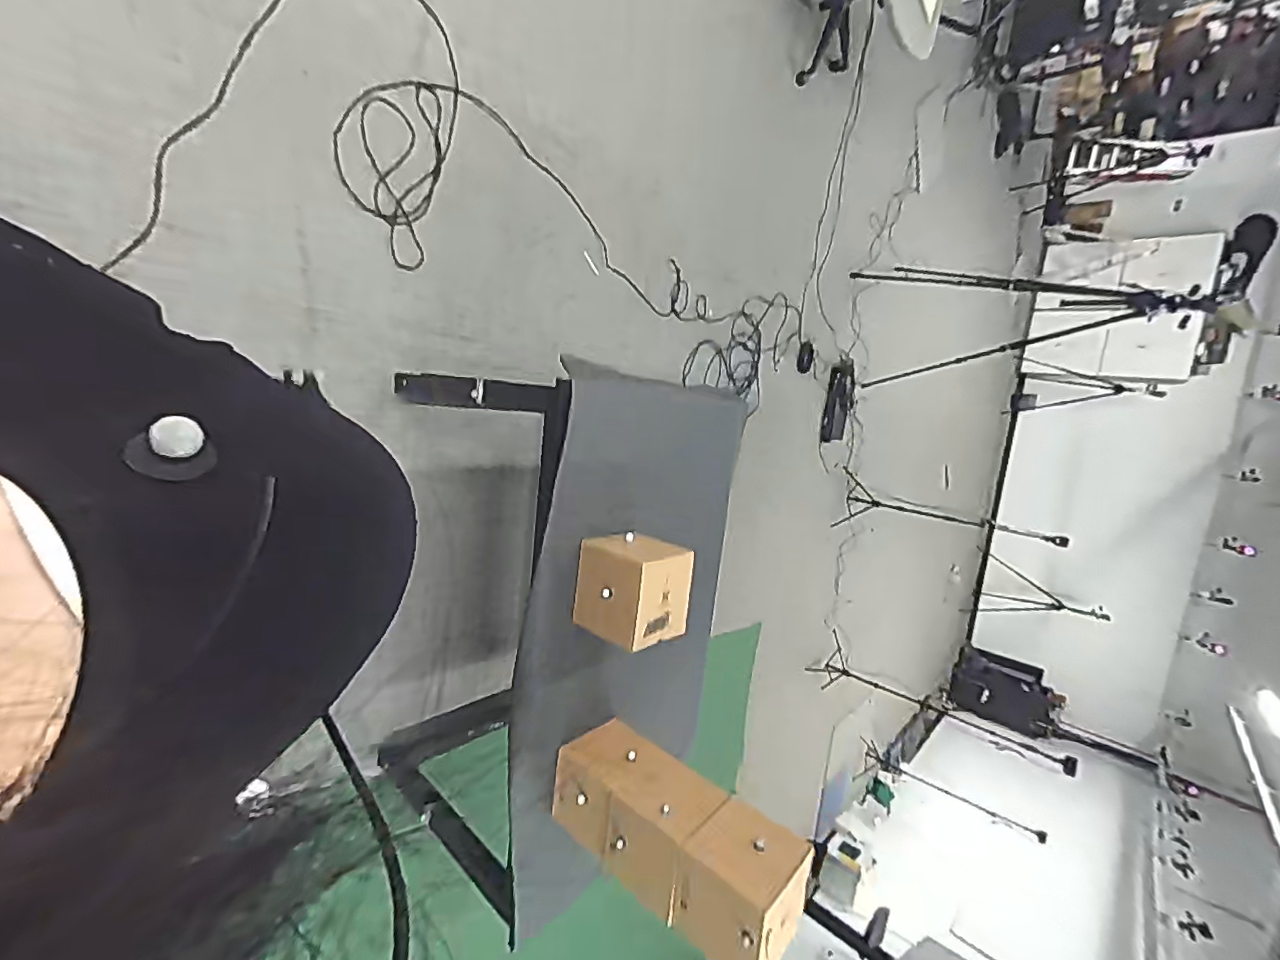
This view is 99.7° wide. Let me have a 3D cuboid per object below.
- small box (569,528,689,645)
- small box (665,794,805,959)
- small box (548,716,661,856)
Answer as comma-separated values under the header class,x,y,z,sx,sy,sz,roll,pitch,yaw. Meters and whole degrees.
class,x,y,z,sx,sy,sz,roll,pitch,yaw
small box,-0.026,0.207,1.099,0.168,0.176,0.179,-2,101,-49
small box,0.167,0.702,0.954,0.179,0.176,0.168,-8,106,-49
small box,-0.079,0.645,1.163,0.179,0.176,0.168,-3,103,-50
